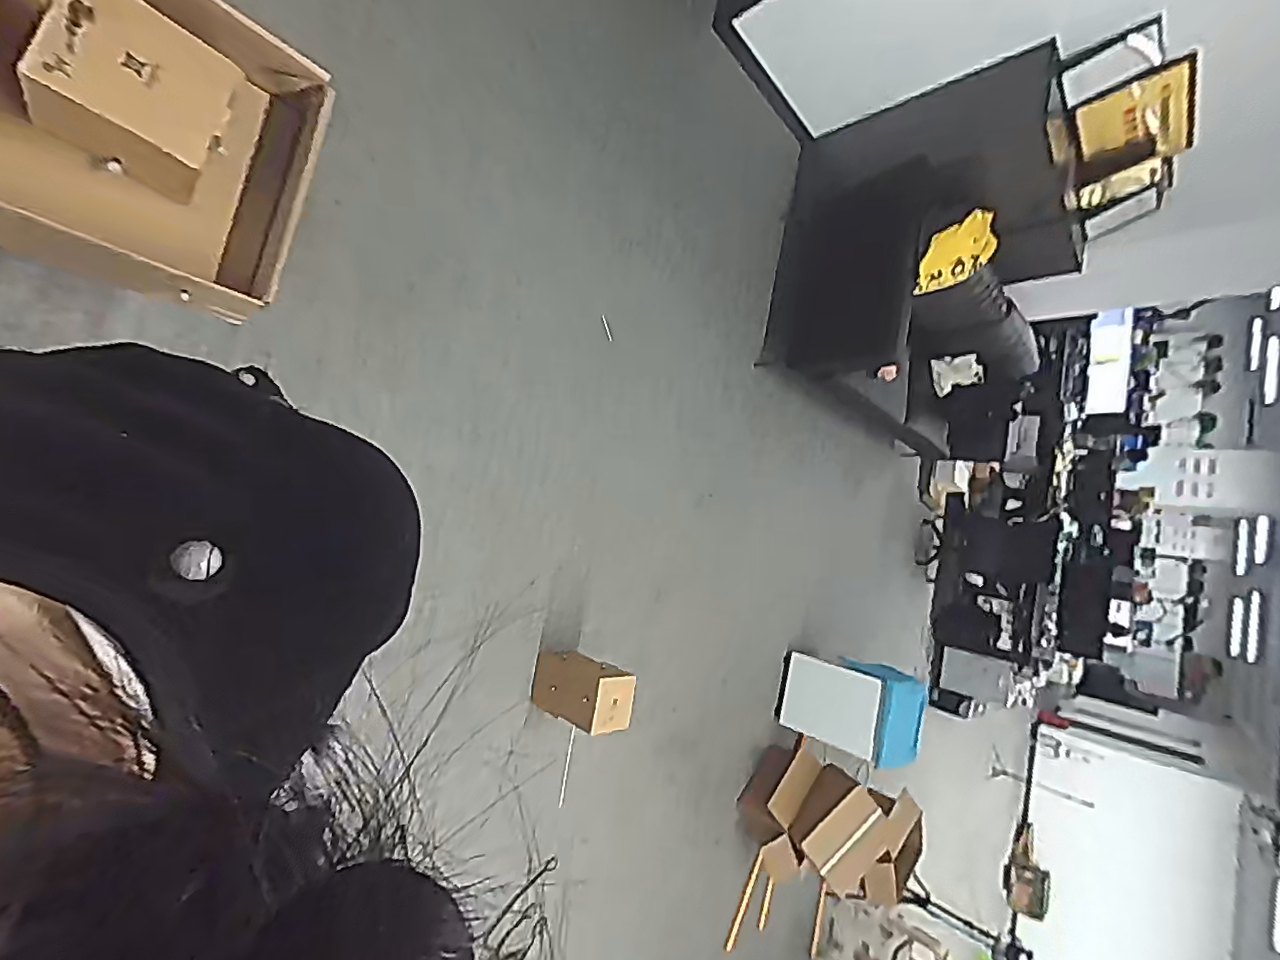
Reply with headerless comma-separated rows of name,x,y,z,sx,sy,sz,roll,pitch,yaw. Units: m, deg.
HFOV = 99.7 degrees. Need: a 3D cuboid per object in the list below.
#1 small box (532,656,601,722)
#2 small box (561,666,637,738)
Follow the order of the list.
small box,-0.254,0.716,1.877,0.168,0.176,0.179,15,82,-44
small box,-0.136,0.714,1.762,0.168,0.176,0.179,16,82,-43
